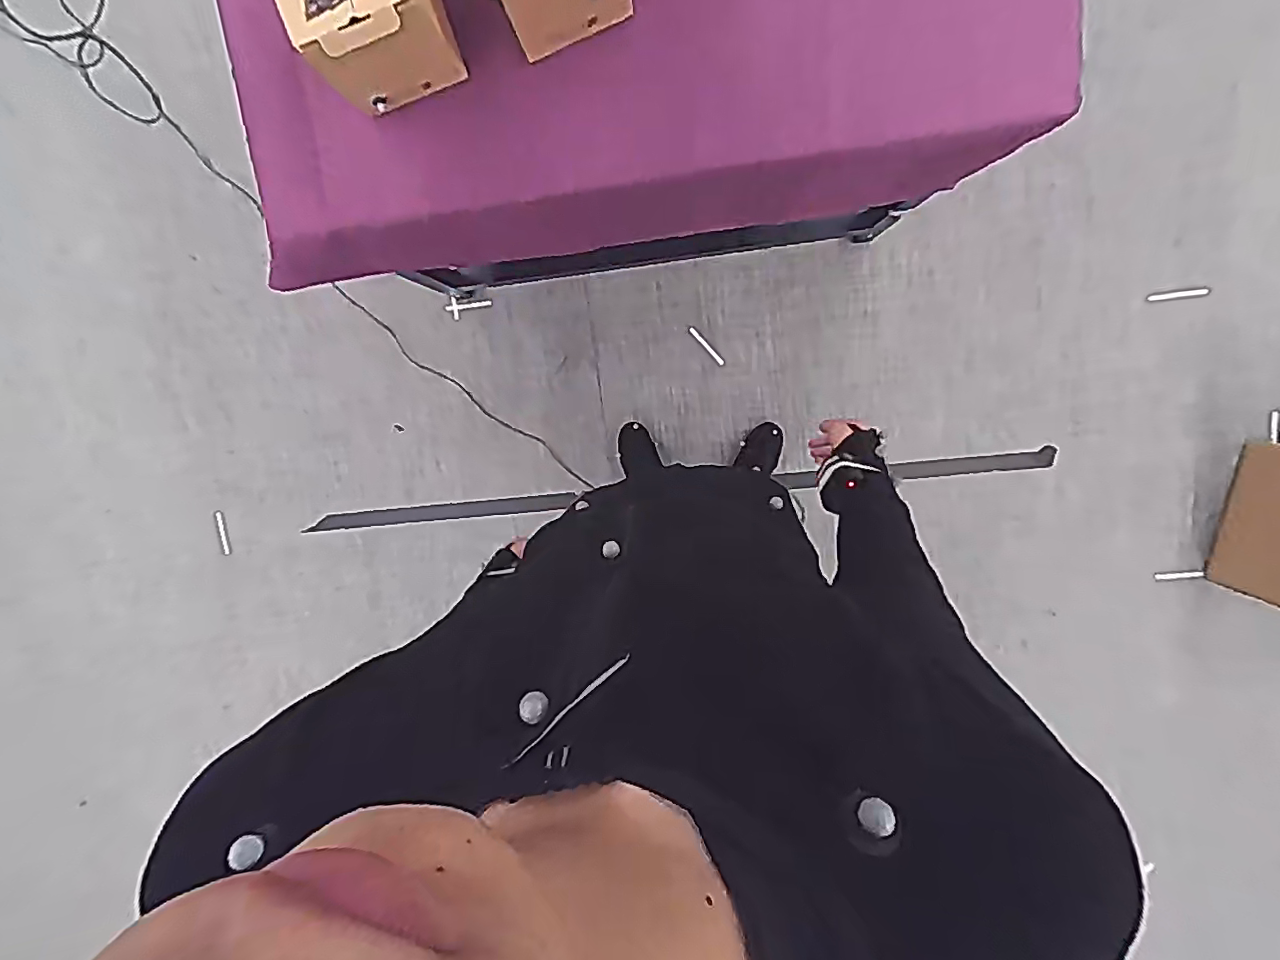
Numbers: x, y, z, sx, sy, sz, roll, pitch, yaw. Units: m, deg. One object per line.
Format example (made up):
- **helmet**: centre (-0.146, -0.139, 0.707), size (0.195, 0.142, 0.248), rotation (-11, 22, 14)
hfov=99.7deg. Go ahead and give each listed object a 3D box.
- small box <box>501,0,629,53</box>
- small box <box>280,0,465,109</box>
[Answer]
- **small box**: centre (-0.119, -0.704, 0.698), size (0.168, 0.176, 0.179), rotation (-20, 97, 6)
- **small box**: centre (-0.360, -0.637, 0.721), size (0.168, 0.176, 0.179), rotation (-18, 97, 6)
